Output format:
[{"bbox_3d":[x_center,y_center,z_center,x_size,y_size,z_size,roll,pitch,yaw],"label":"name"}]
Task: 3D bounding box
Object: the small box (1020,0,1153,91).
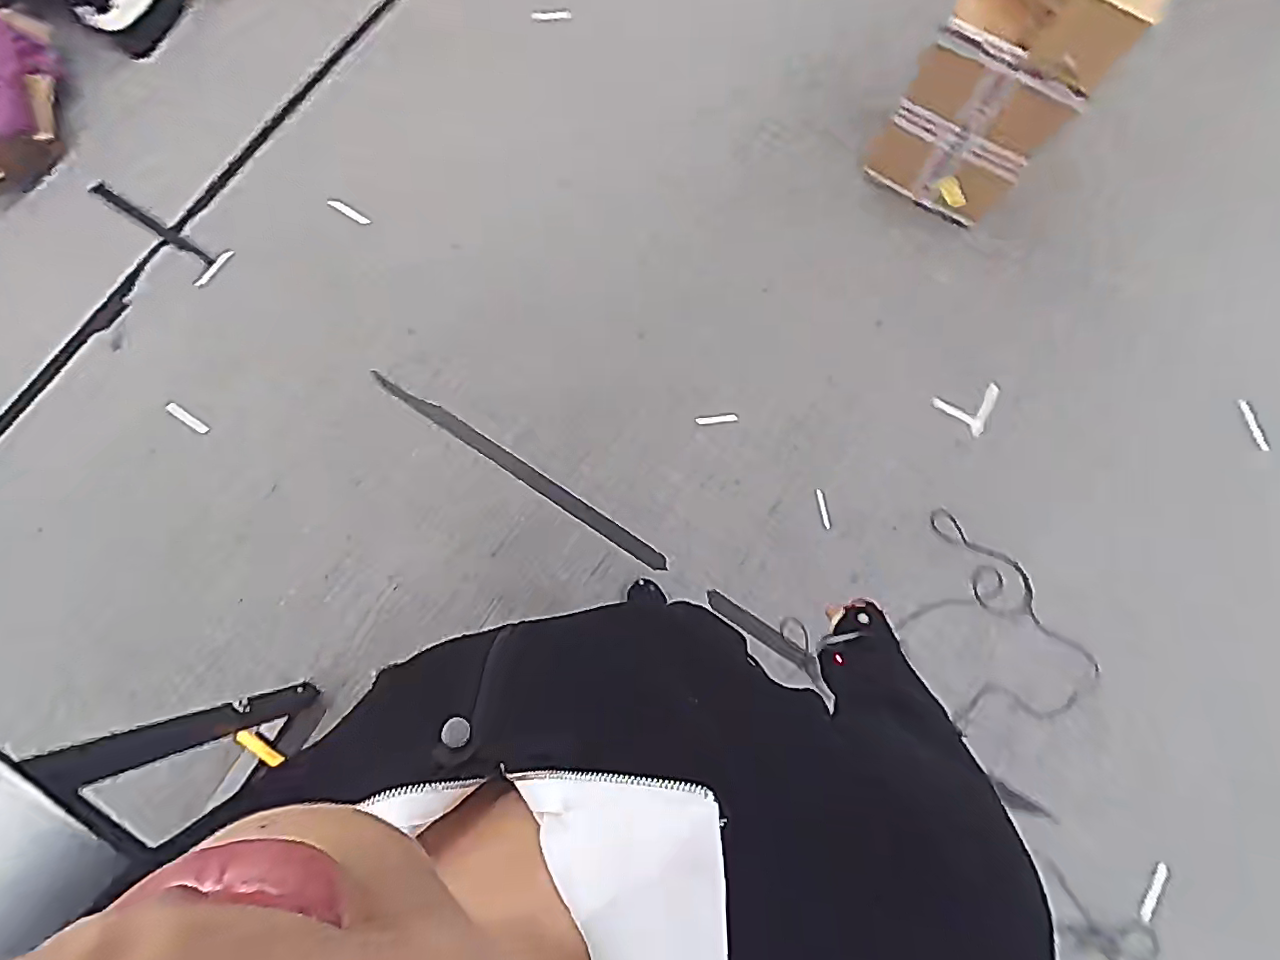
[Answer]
[{"bbox_3d":[1.010,-1.040,1.218,0.168,0.176,0.179,32,82,5],"label":"small box"}]
